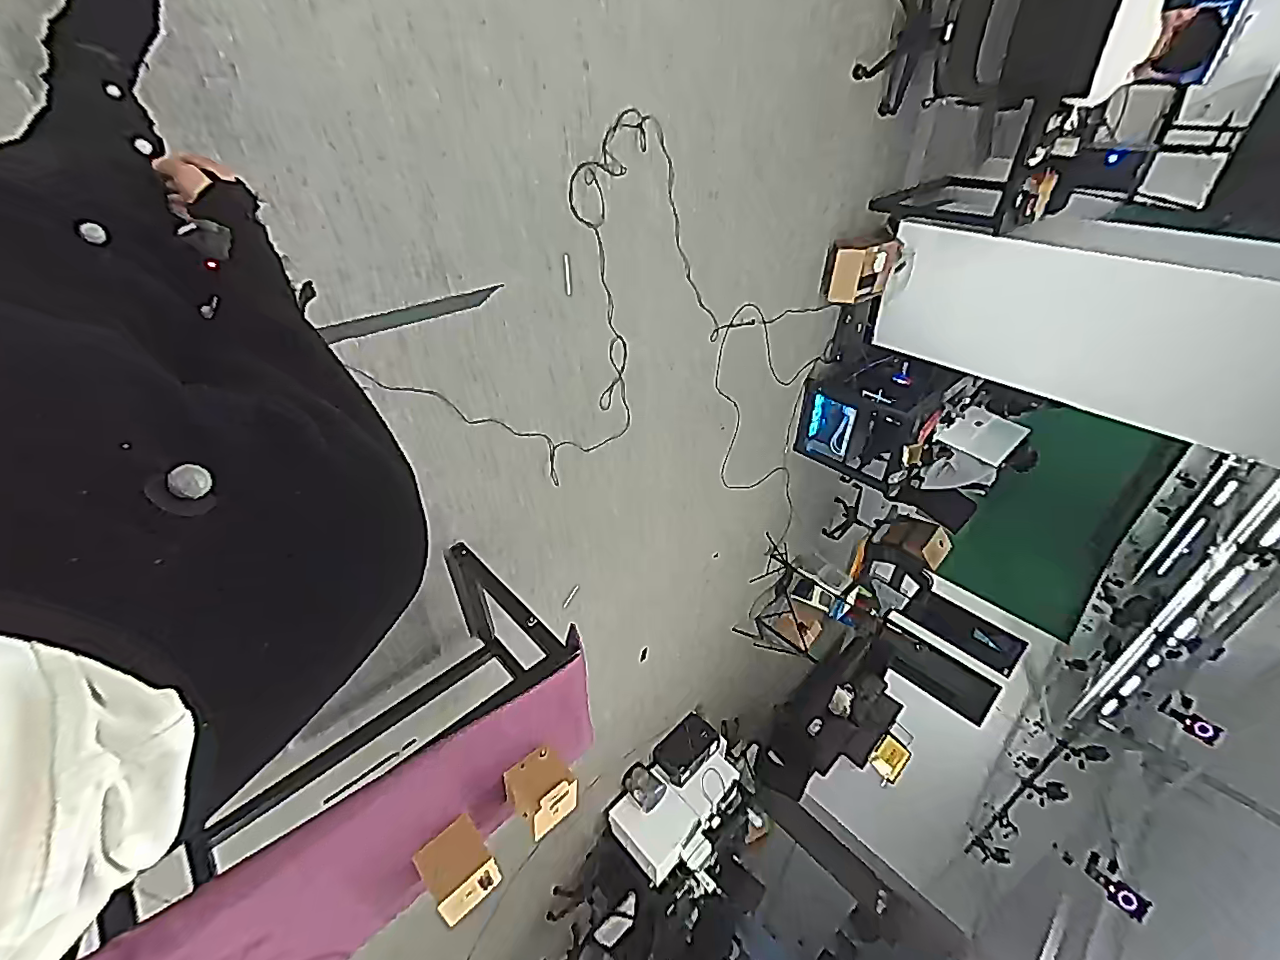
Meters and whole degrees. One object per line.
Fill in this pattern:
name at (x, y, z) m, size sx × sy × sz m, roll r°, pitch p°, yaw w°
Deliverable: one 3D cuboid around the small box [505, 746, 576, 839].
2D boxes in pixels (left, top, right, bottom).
small box at (-0.326, 1.010, 1.766) m, size 0.168 × 0.176 × 0.179 m, roll -24°, pitch 133°, yaw -37°
